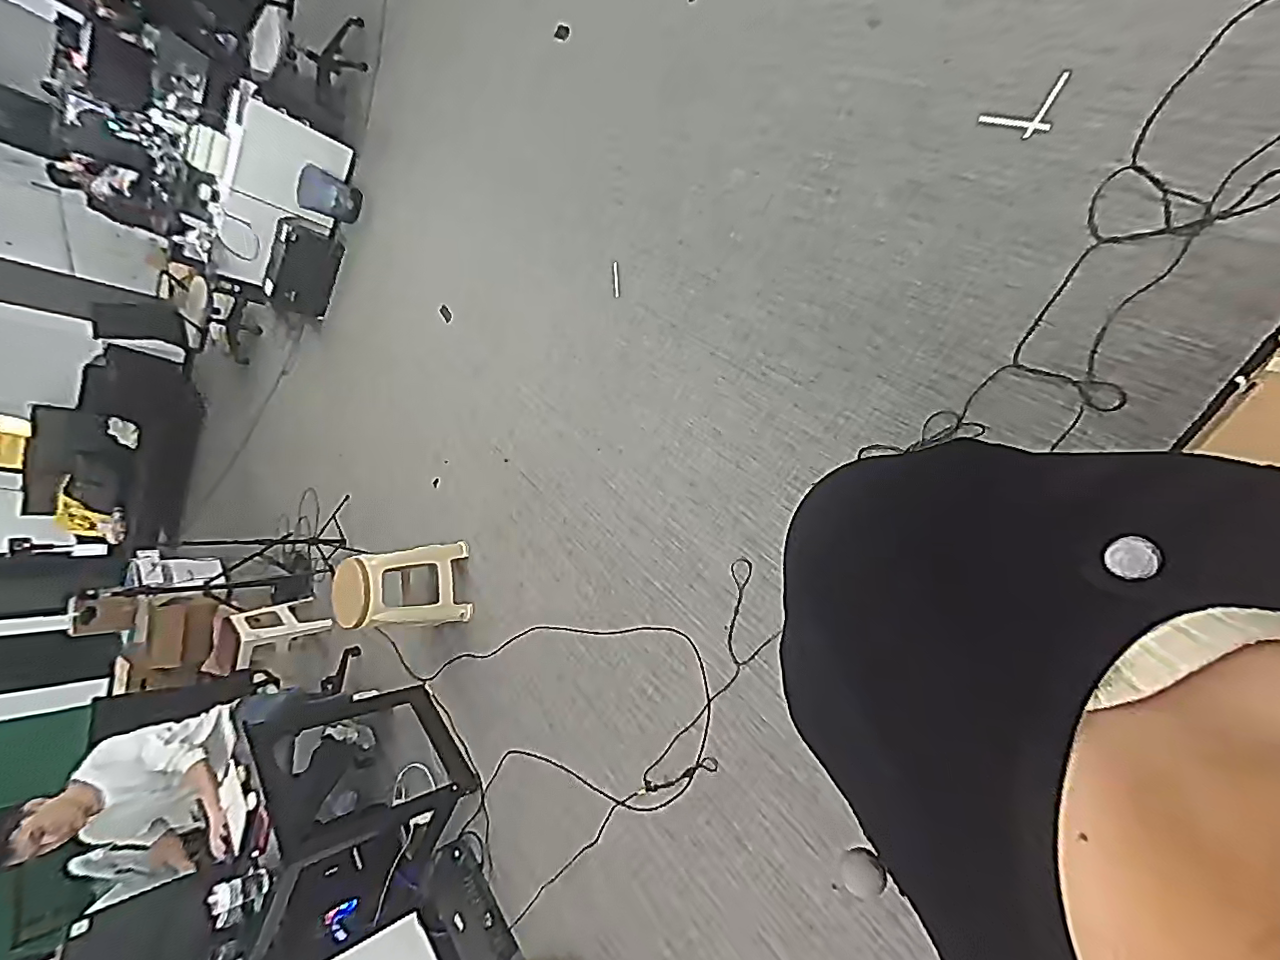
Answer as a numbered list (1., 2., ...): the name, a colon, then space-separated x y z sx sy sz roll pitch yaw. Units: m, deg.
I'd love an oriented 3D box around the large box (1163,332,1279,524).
1. large box: 1.087 -0.050 0.751 0.408 0.320 0.320 42 112 32
